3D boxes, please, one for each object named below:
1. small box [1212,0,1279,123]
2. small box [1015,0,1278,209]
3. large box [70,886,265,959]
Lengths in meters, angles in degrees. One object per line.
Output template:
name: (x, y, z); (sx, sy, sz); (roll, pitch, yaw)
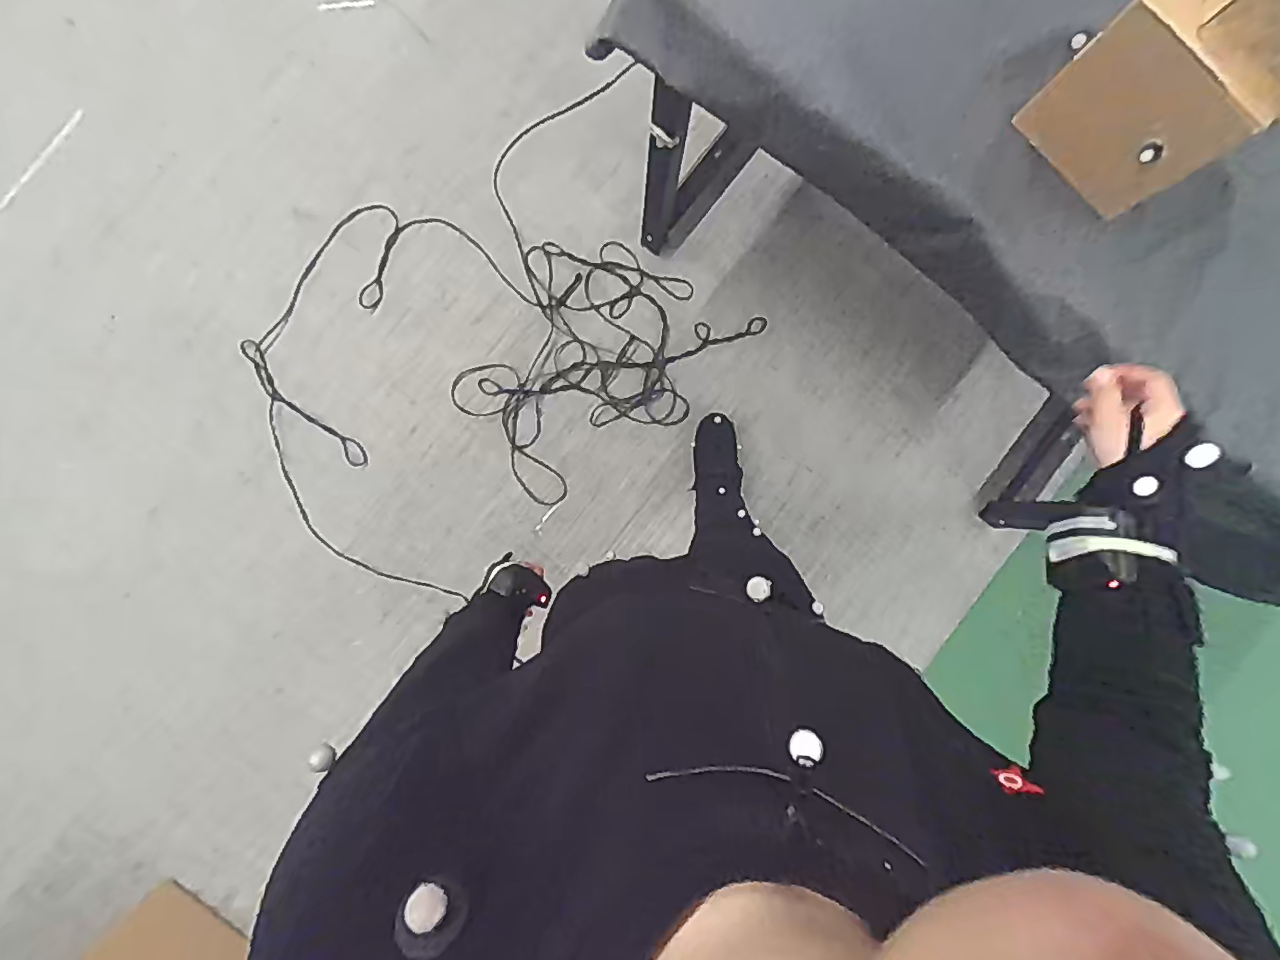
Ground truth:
small box: (0.644, -0.423, 0.433); (0.168, 0.176, 0.179); (44, 86, -1)
small box: (0.577, -0.434, 0.593); (0.168, 0.176, 0.179); (-44, 89, -5)
large box: (-1.056, 1.186, 1.125); (0.408, 0.320, 0.320); (38, 86, 1)
